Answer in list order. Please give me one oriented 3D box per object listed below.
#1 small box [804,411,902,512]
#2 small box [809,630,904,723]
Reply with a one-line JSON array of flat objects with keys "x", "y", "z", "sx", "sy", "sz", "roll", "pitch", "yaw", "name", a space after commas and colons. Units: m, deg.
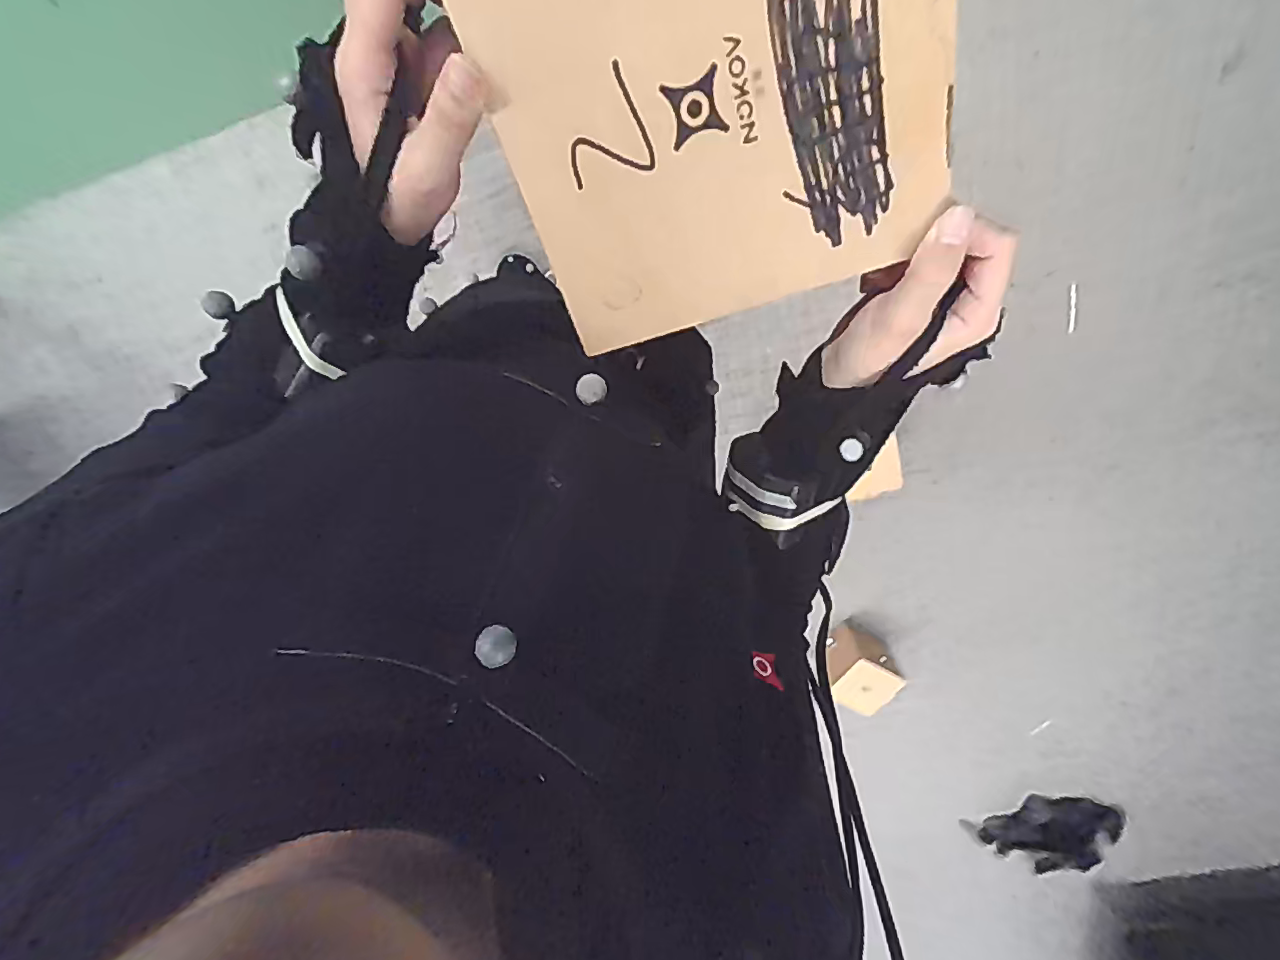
[{"x": 0.511, "y": -0.054, "z": 1.313, "sx": 0.168, "sy": 0.176, "sz": 0.179, "roll": -17, "pitch": 115, "yaw": 9, "name": "small box"}, {"x": 0.641, "y": 0.581, "z": 1.620, "sx": 0.179, "sy": 0.176, "sz": 0.168, "roll": 29, "pitch": 112, "yaw": -11, "name": "small box"}]
